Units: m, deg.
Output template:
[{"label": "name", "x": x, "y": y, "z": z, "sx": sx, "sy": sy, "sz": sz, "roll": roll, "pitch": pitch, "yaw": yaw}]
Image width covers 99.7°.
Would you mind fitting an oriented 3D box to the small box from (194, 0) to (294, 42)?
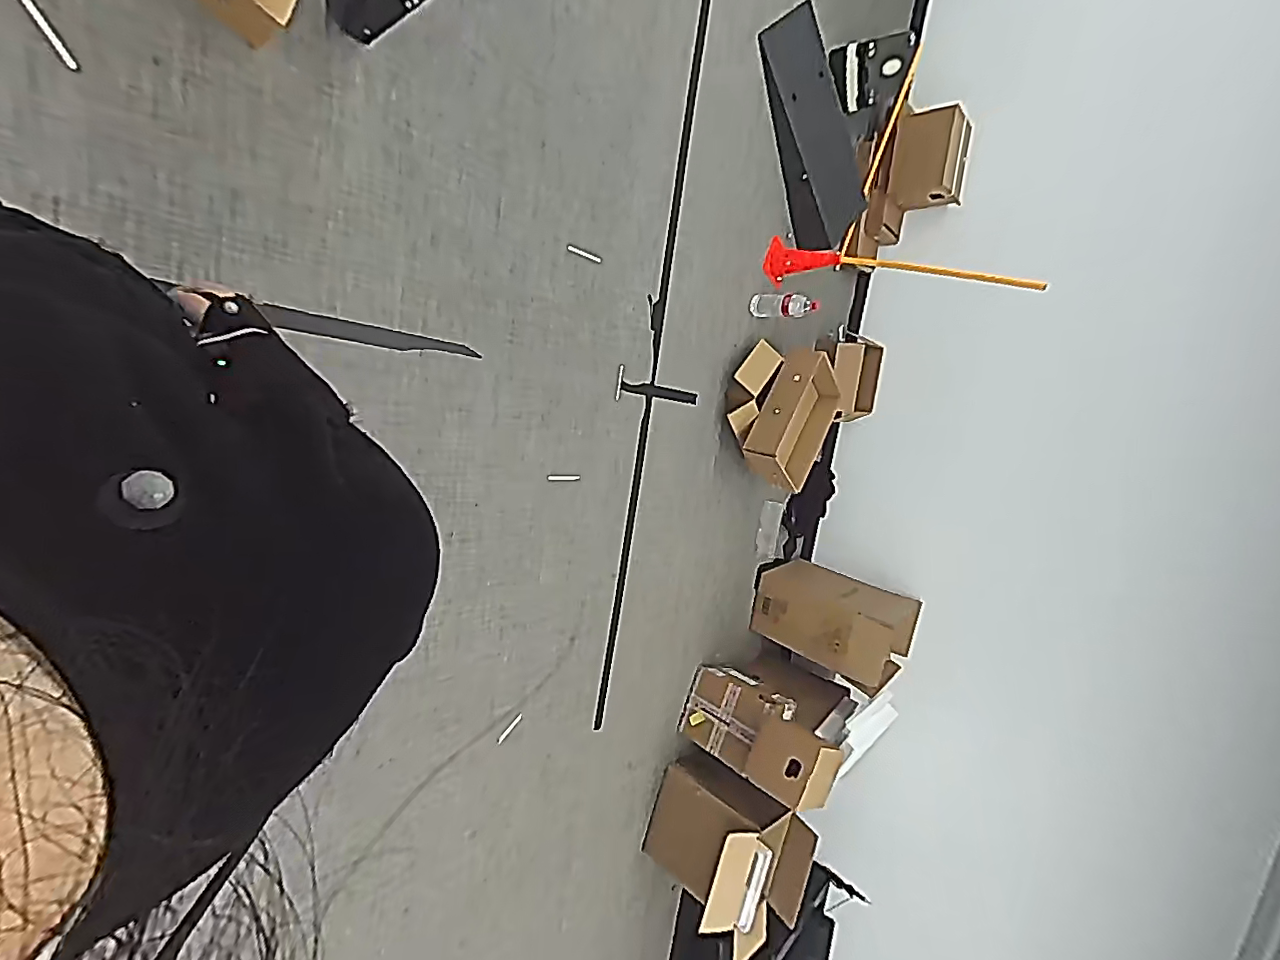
[{"label": "small box", "x": -0.769, "y": -0.986, "z": 1.030, "sx": 0.179, "sy": 0.176, "sz": 0.168, "roll": 25, "pitch": 84, "yaw": -49}]
